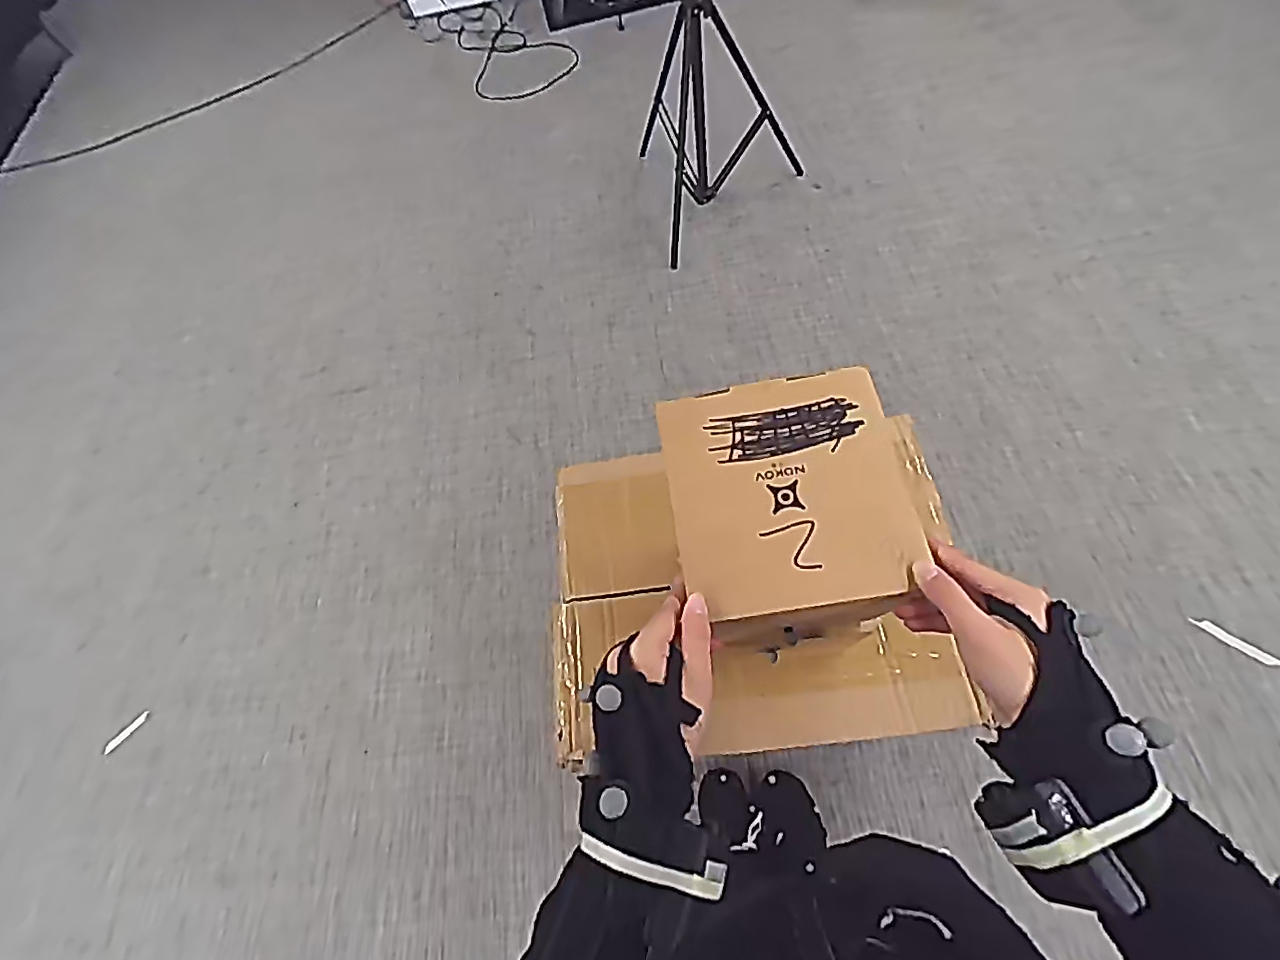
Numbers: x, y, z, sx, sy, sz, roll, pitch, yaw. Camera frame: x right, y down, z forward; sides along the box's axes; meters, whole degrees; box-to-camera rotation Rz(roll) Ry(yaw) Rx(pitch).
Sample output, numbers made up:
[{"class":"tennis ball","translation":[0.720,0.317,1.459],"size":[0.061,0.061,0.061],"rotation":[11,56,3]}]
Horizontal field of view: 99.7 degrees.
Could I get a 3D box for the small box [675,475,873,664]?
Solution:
[{"class":"small box","translation":[0.142,0.113,0.624],"size":[0.179,0.176,0.168],"rotation":[-8,65,5]}]
